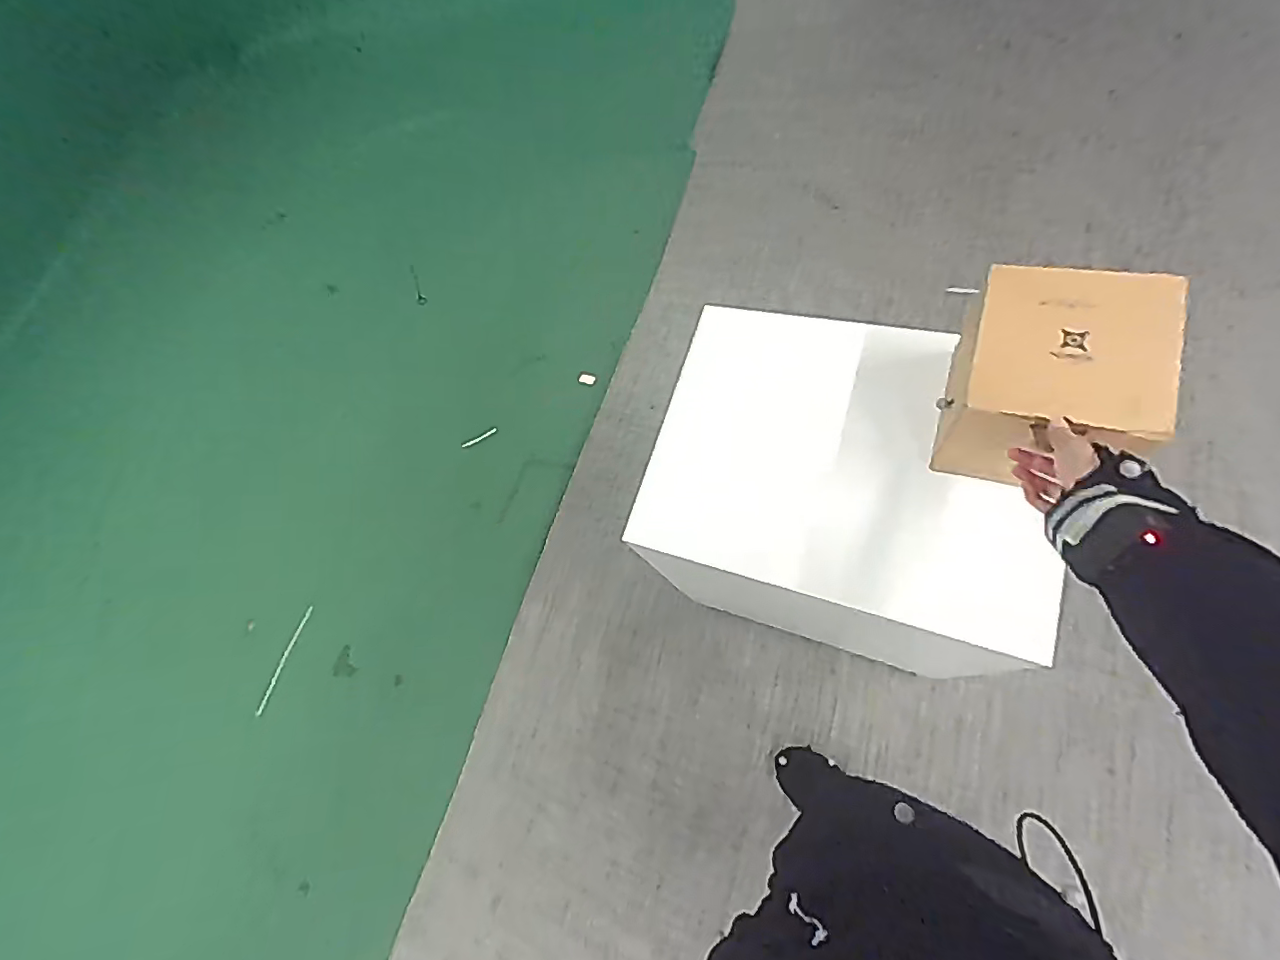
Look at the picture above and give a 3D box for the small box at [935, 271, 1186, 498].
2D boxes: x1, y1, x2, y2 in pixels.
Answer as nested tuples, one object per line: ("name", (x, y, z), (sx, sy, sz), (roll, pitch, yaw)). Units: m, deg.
("small box", (0.440, -0.097, 0.592), (0.168, 0.176, 0.179), (13, 73, 21))
